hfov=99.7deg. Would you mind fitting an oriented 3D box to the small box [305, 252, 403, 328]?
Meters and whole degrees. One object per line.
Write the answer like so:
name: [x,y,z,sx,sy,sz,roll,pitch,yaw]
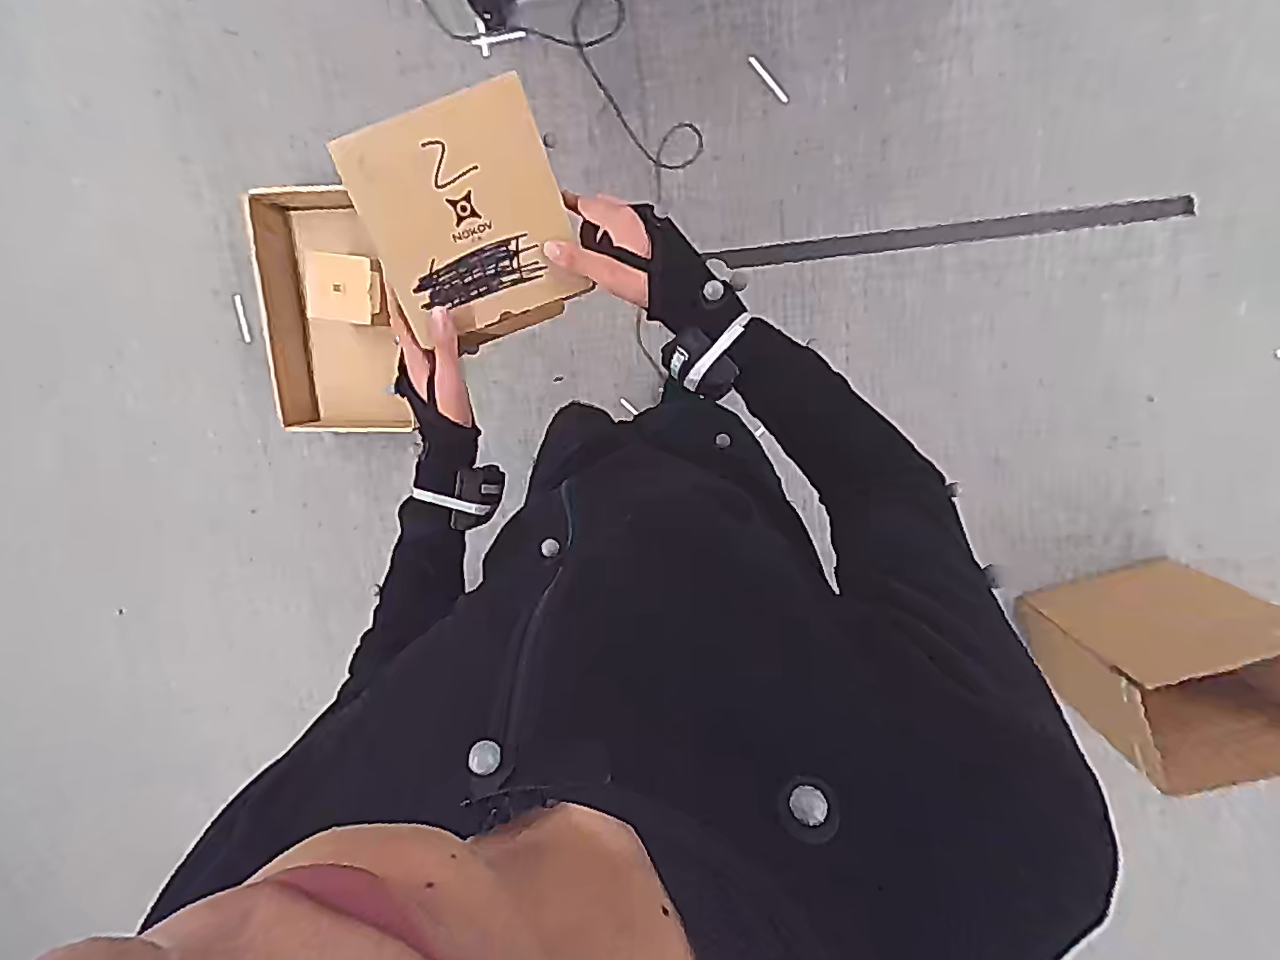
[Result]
small box: [-0.753,-0.500,1.441,0.179,0.176,0.168,8,105,3]
